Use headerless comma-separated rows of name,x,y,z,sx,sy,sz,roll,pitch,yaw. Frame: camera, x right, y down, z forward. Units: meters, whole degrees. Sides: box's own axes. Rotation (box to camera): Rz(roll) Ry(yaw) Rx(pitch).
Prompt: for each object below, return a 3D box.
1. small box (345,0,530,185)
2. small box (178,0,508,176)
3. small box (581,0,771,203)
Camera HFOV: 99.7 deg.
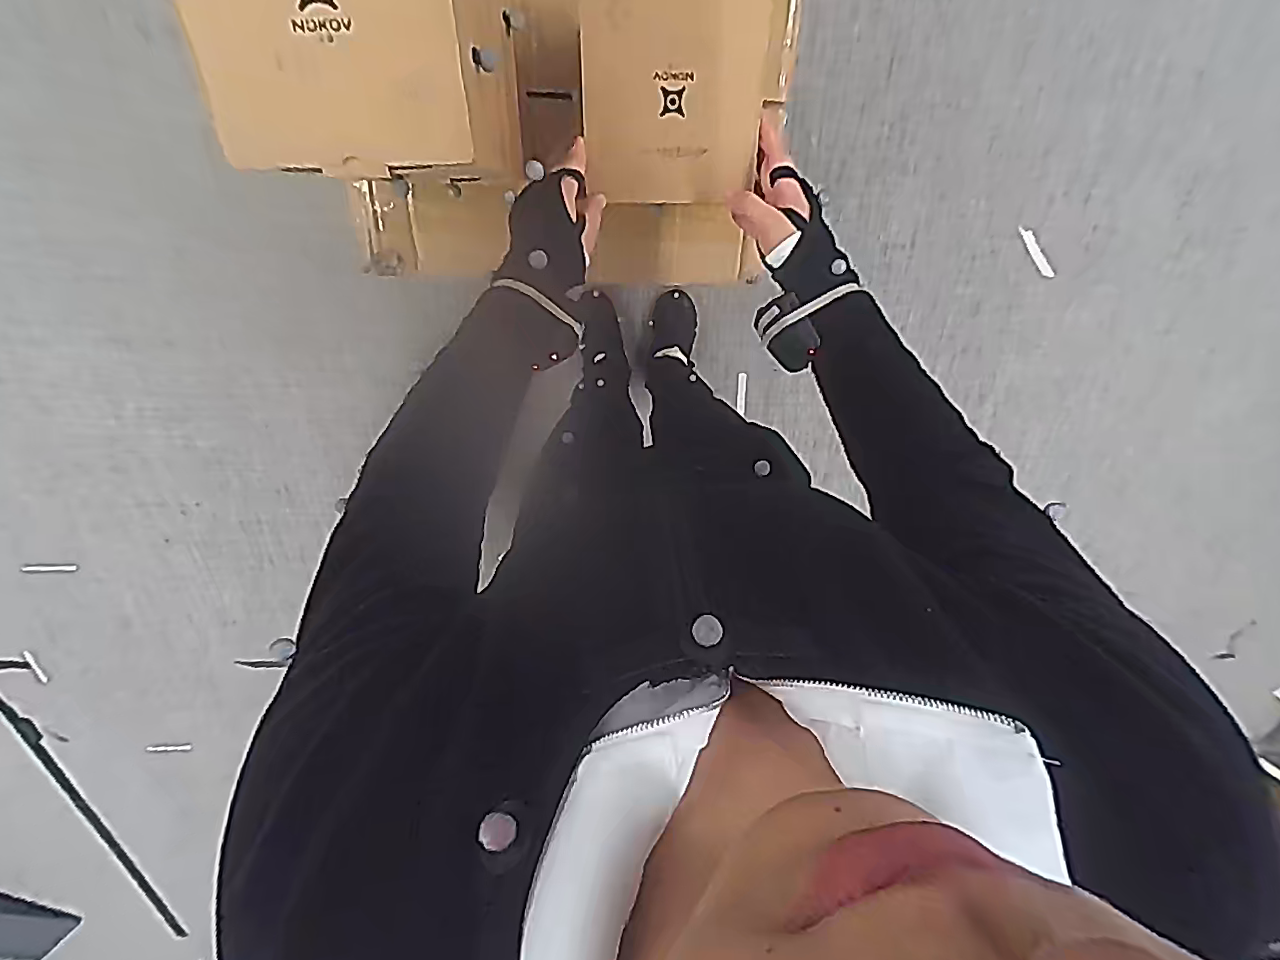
small box,-0.207,-0.401,0.545,0.168,0.176,0.179,-1,118,-3
small box,-0.200,-0.327,0.399,0.168,0.176,0.179,-3,119,-3
small box,0.032,-0.389,0.562,0.168,0.176,0.179,1,120,2
